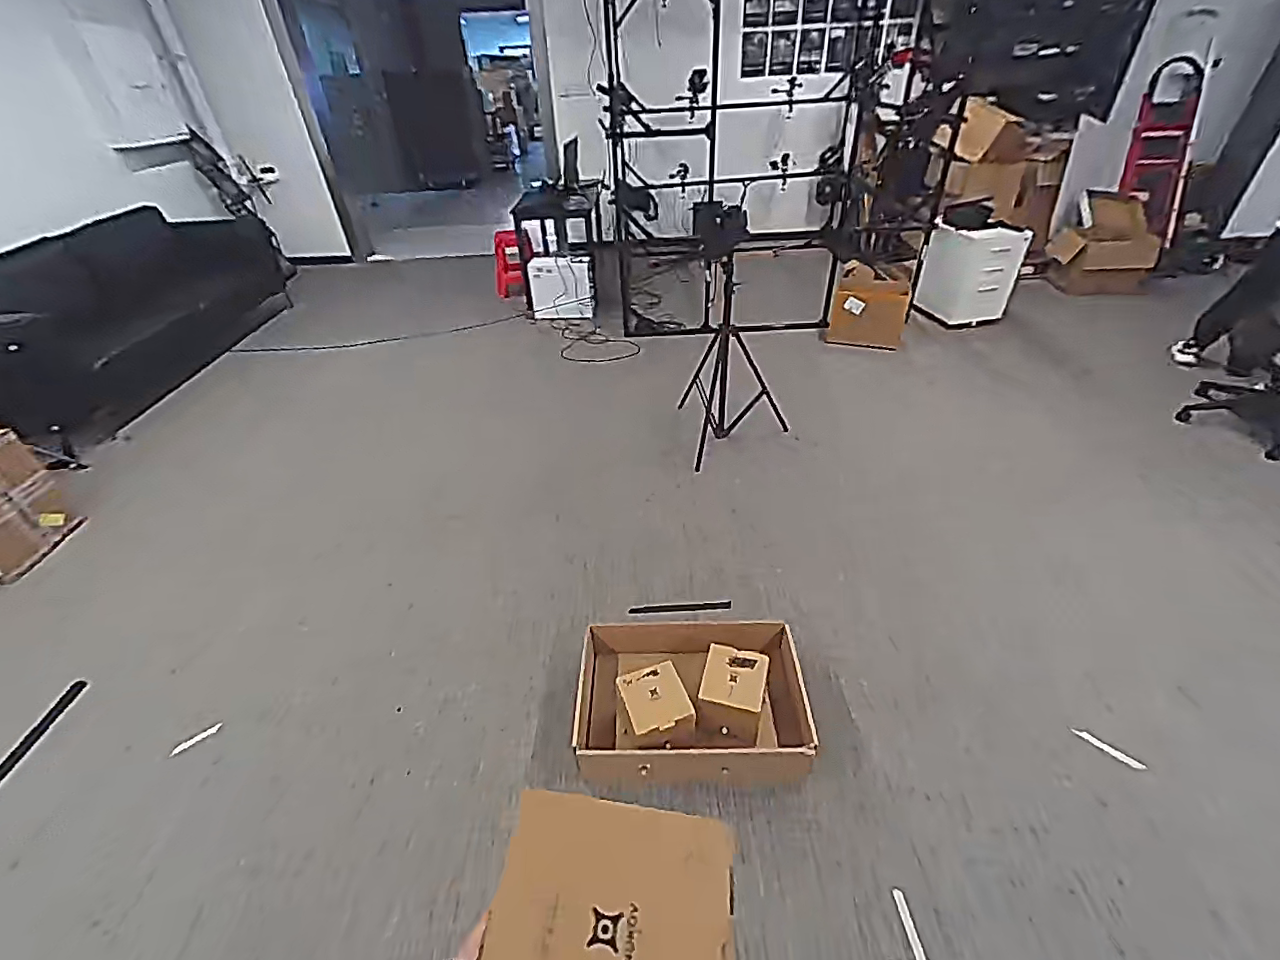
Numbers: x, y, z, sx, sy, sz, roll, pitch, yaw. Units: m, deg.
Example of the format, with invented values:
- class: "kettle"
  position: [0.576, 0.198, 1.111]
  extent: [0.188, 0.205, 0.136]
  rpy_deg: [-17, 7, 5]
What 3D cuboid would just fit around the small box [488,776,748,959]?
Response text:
- class: "small box"
  position: [-0.015, 0.369, 0.433]
  extent: [0.179, 0.176, 0.168]
  rpy_deg: [7, 39, 5]
